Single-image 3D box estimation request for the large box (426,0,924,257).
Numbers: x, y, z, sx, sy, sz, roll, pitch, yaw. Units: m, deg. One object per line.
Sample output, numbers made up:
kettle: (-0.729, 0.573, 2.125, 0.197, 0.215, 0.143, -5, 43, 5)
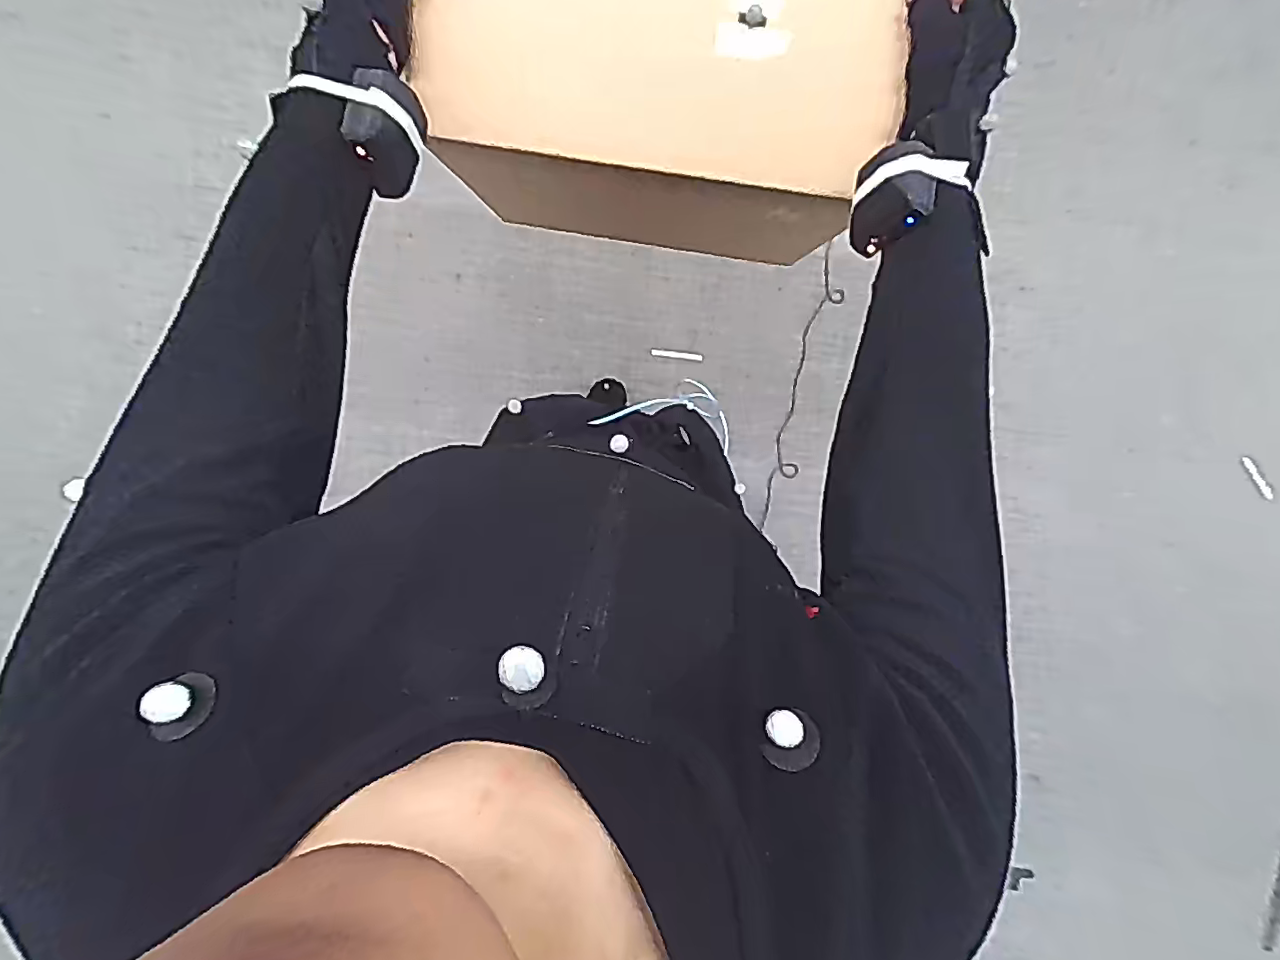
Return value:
large box: (0.033, -0.449, 0.572, 0.408, 0.320, 0.320, 8, 103, -2)
